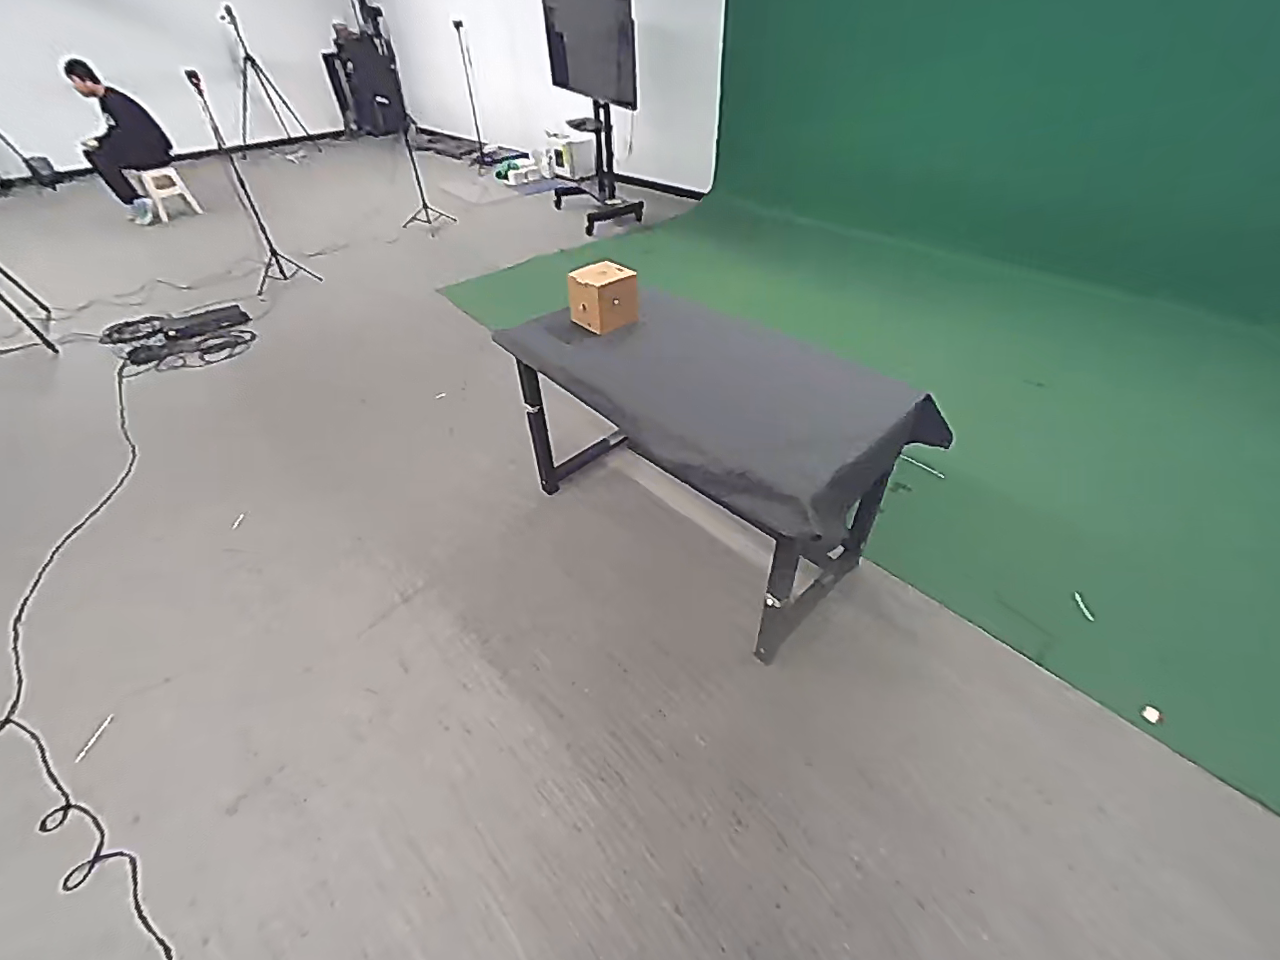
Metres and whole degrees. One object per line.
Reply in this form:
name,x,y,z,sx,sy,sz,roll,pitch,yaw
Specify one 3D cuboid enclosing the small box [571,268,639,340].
small box,-0.114,-0.606,1.866,0.179,0.176,0.168,-31,50,-29
